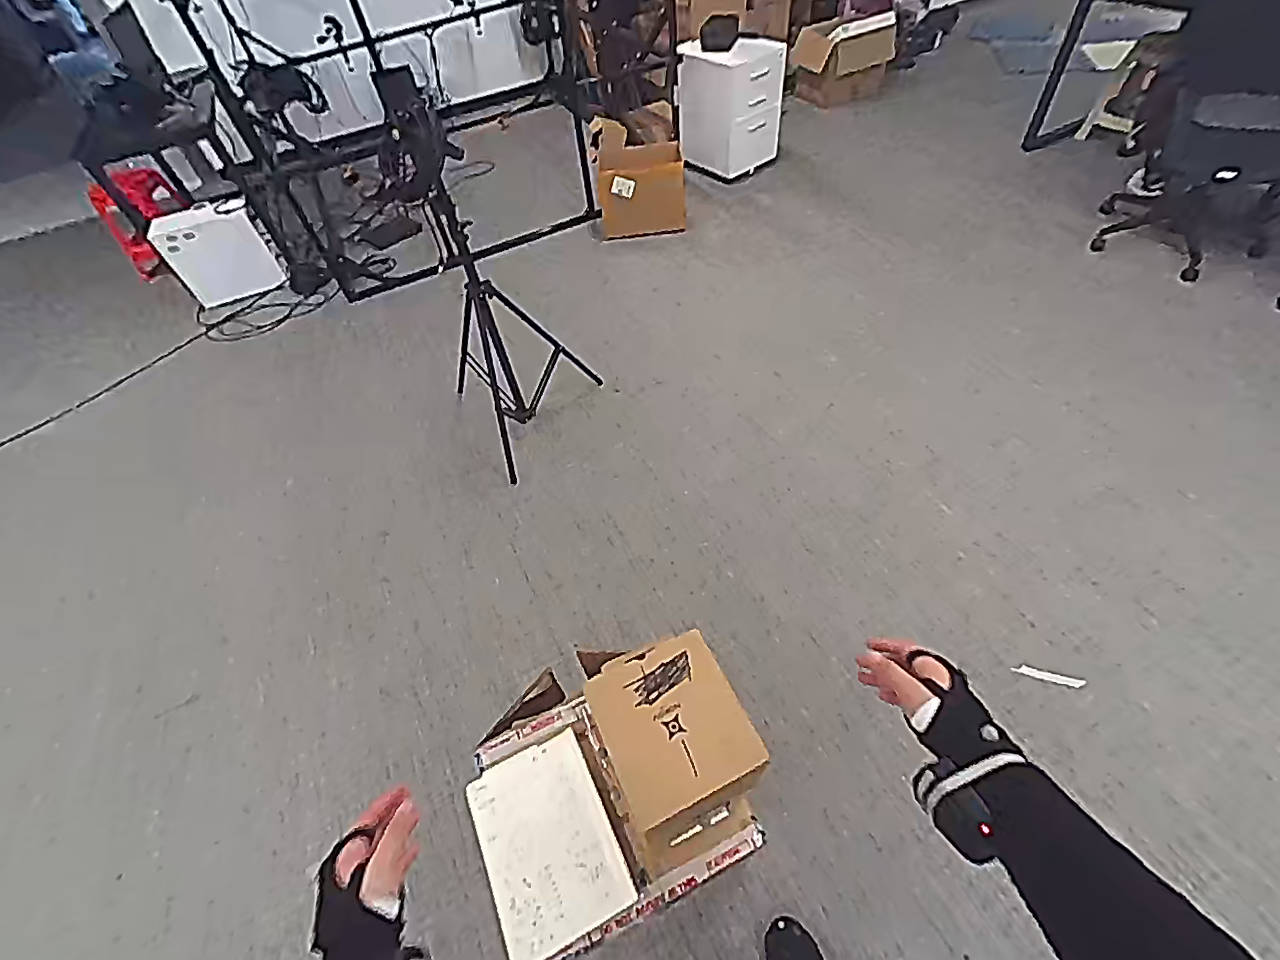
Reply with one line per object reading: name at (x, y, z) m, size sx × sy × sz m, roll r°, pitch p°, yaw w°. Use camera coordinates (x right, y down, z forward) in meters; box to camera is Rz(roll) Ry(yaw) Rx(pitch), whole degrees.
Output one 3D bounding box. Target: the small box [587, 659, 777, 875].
small box at (0.045, 0.363, 0.682) m, size 0.168 × 0.176 × 0.179 m, roll -22°, pitch 54°, yaw -13°
